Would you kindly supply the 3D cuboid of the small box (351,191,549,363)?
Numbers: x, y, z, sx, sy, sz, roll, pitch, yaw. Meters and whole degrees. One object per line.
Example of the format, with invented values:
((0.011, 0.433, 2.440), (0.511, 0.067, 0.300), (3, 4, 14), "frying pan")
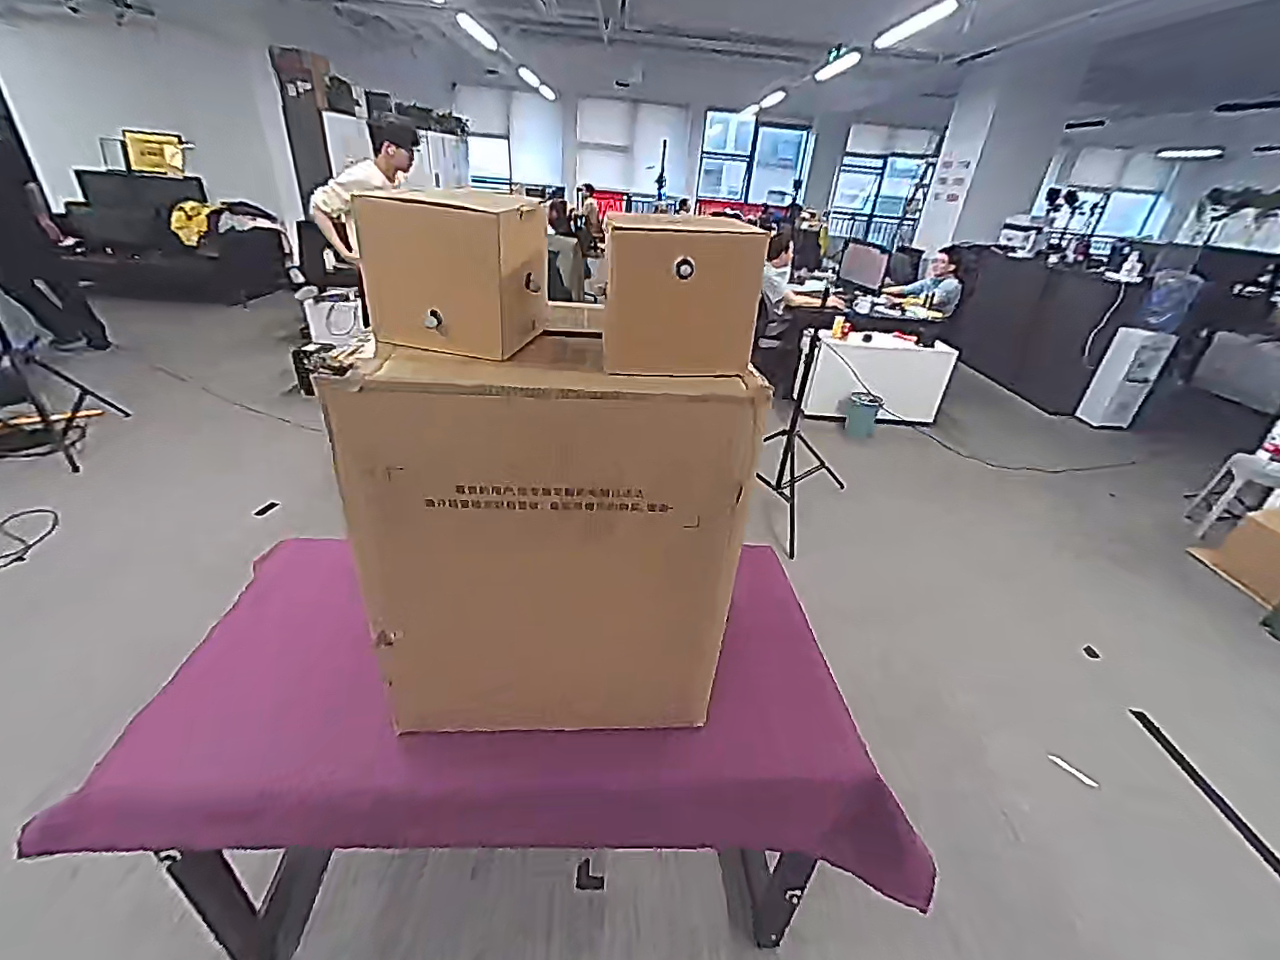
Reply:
((-0.226, -0.260, 0.691), (0.179, 0.176, 0.168), (10, 31, 7), "small box")

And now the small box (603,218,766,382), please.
((0.043, -0.231, 0.687), (0.179, 0.176, 0.168), (0, 31, -6), "small box")
